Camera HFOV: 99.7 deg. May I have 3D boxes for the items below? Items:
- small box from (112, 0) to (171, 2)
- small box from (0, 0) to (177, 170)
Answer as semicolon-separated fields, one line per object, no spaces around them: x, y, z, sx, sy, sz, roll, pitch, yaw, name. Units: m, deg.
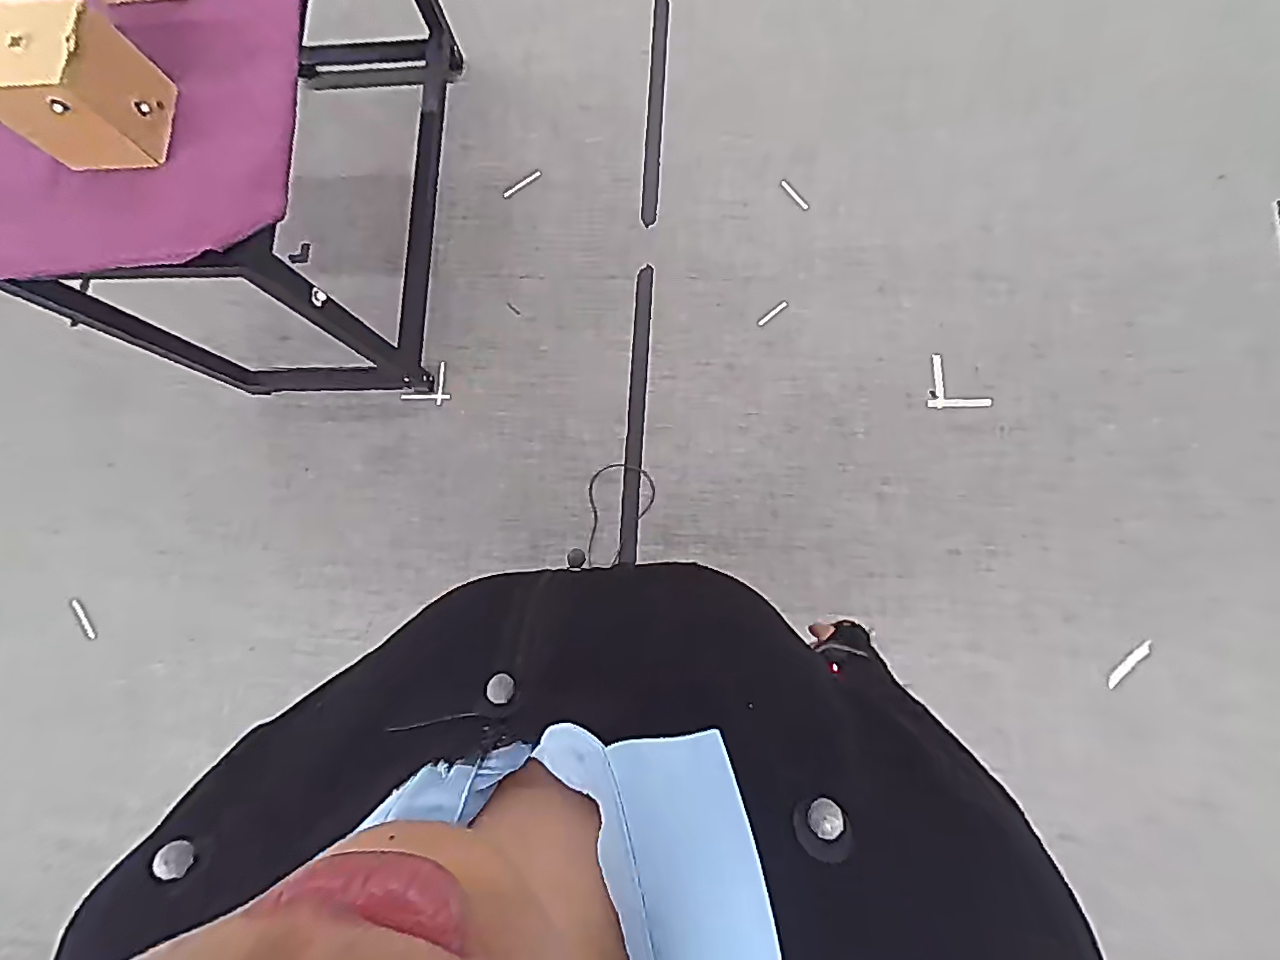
-0.936;-0.995;0.956;0.179;0.176;0.168;0;81;3;small box
-0.936;-0.646;0.898;0.179;0.176;0.168;-1;80;3;small box
